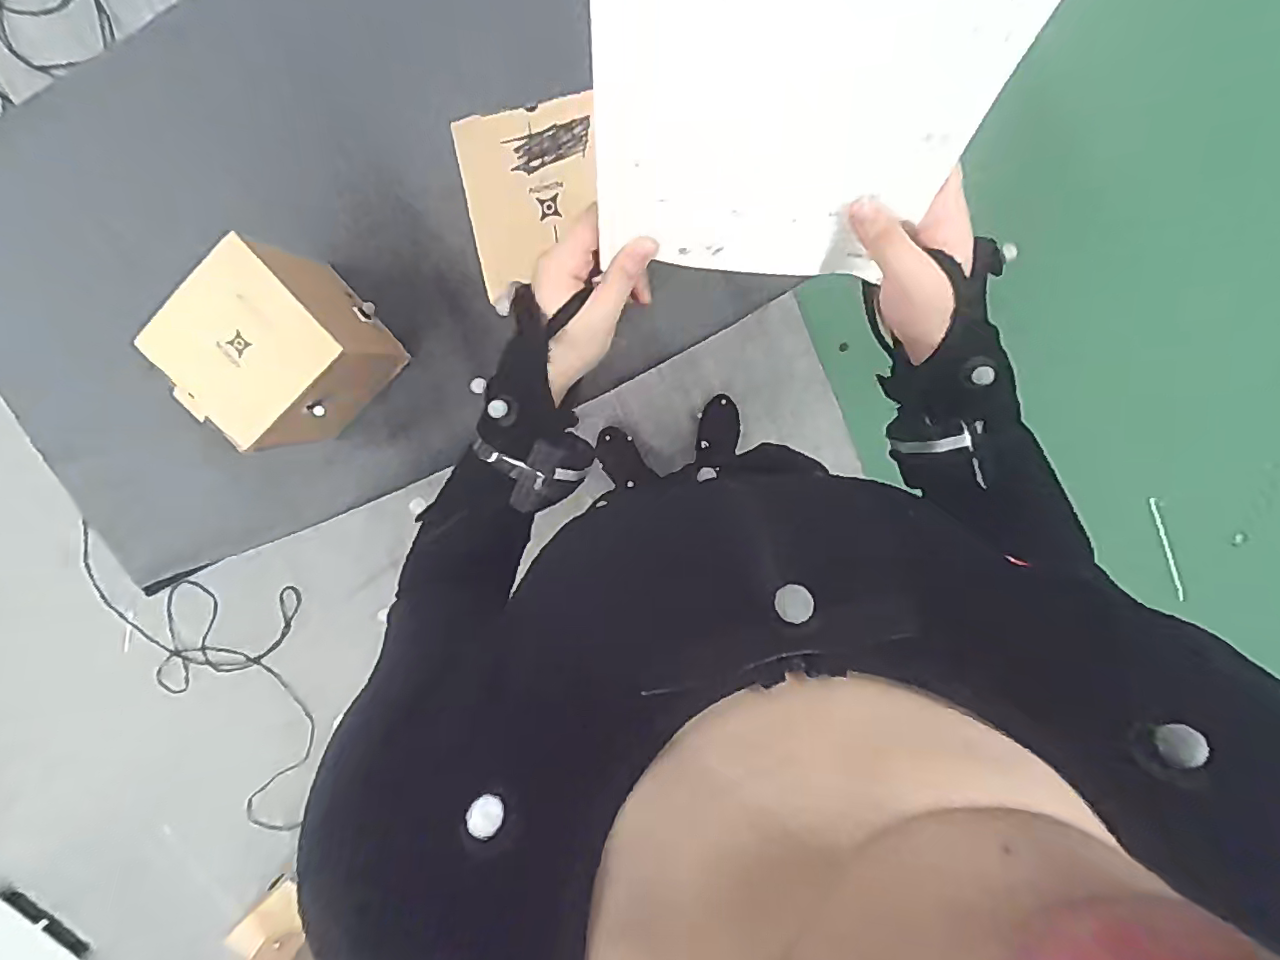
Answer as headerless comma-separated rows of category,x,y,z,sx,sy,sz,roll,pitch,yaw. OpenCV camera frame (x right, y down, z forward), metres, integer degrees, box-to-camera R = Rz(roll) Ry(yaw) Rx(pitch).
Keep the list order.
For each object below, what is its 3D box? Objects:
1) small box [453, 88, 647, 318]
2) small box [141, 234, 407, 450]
small box,-0.088,-0.296,0.619,0.168,0.176,0.179,-10,100,6
small box,-0.430,-0.160,0.668,0.179,0.176,0.168,-41,96,9
